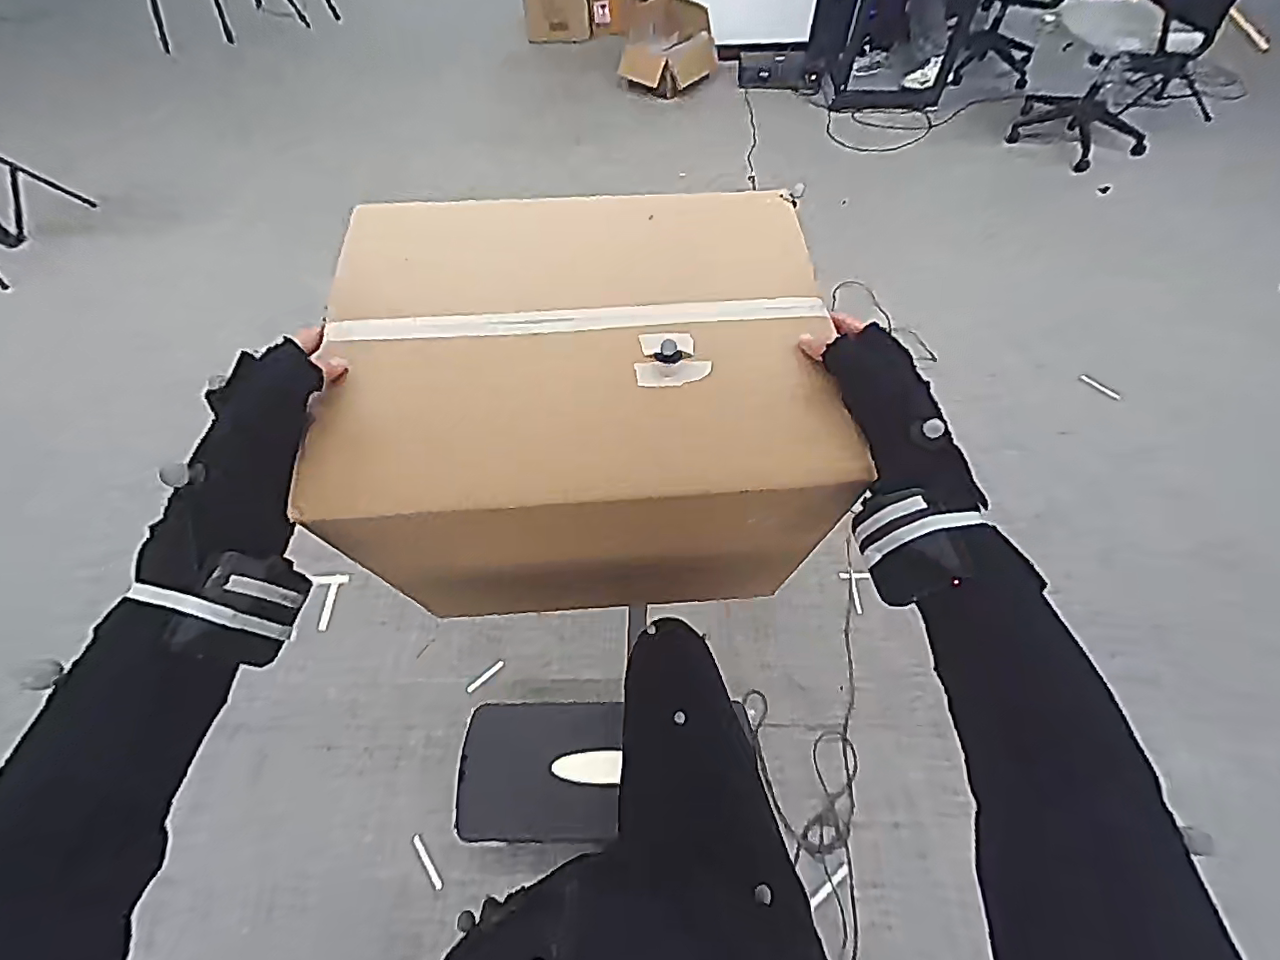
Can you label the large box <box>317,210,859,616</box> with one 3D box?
[{"bbox_3d":[-0.049,-0.053,0.589,0.408,0.320,0.320,-3,63,-3],"label":"large box"}]
